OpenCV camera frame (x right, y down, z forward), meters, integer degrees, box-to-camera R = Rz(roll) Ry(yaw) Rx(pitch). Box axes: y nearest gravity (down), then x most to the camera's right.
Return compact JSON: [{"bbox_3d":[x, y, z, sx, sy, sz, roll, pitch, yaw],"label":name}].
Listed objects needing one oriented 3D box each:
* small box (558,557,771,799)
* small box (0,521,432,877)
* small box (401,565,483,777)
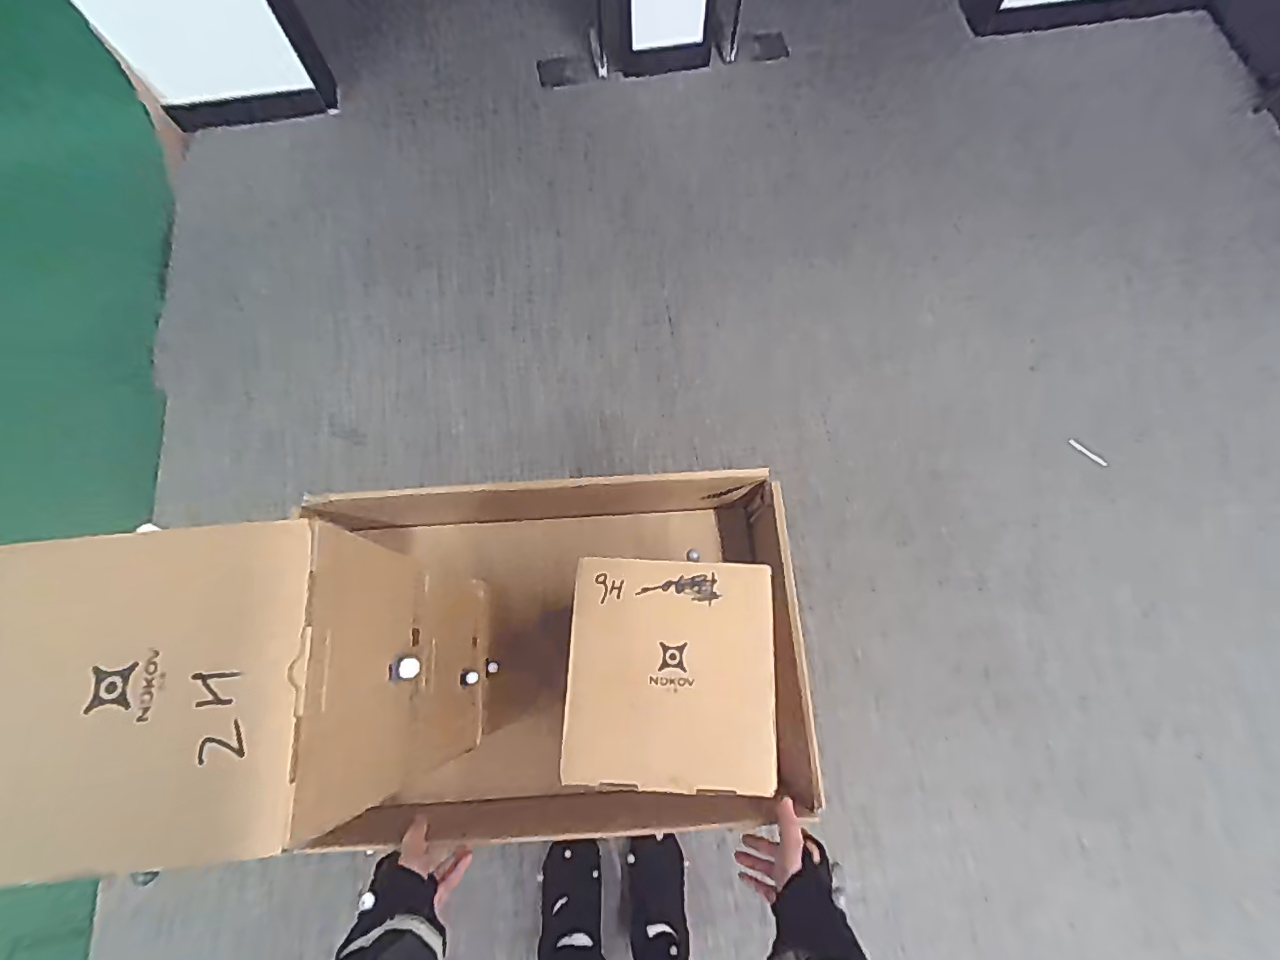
[{"bbox_3d":[0.024,0.177,0.511,0.168,0.176,0.179,4,73,1],"label":"small box"},{"bbox_3d":[-0.257,0.130,0.355,0.179,0.176,0.168,-4,73,-3],"label":"small box"},{"bbox_3d":[-0.261,0.179,0.512,0.179,0.176,0.168,-3,72,-3],"label":"small box"}]
